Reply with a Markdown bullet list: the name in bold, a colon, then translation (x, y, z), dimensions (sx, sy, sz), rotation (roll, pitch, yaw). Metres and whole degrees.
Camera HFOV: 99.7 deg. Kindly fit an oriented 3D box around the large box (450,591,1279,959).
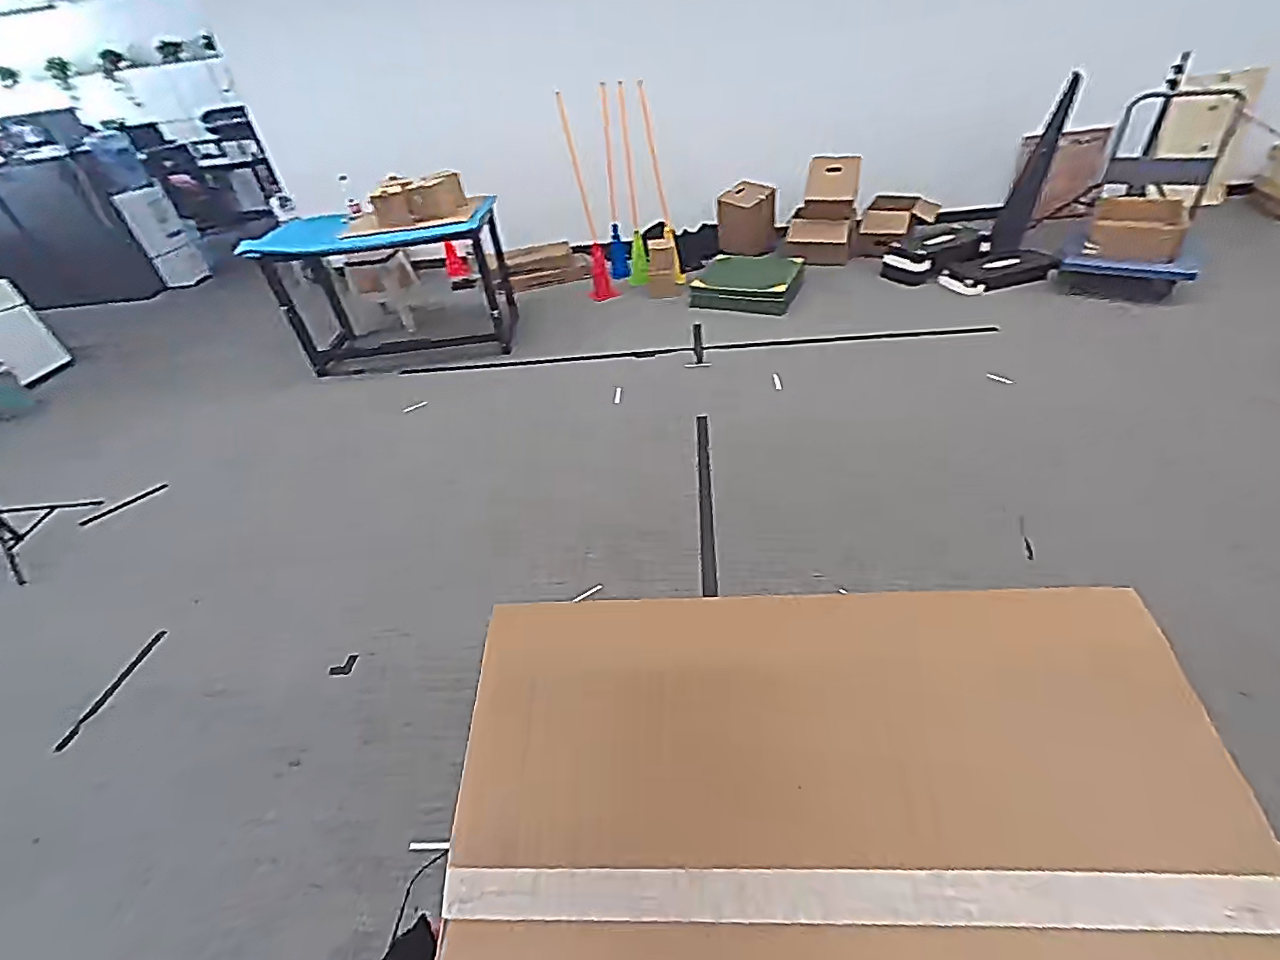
- **large box**: translation (0.114, 0.294, 0.393), dimensions (0.408, 0.320, 0.320), rotation (-3, 55, 5)
